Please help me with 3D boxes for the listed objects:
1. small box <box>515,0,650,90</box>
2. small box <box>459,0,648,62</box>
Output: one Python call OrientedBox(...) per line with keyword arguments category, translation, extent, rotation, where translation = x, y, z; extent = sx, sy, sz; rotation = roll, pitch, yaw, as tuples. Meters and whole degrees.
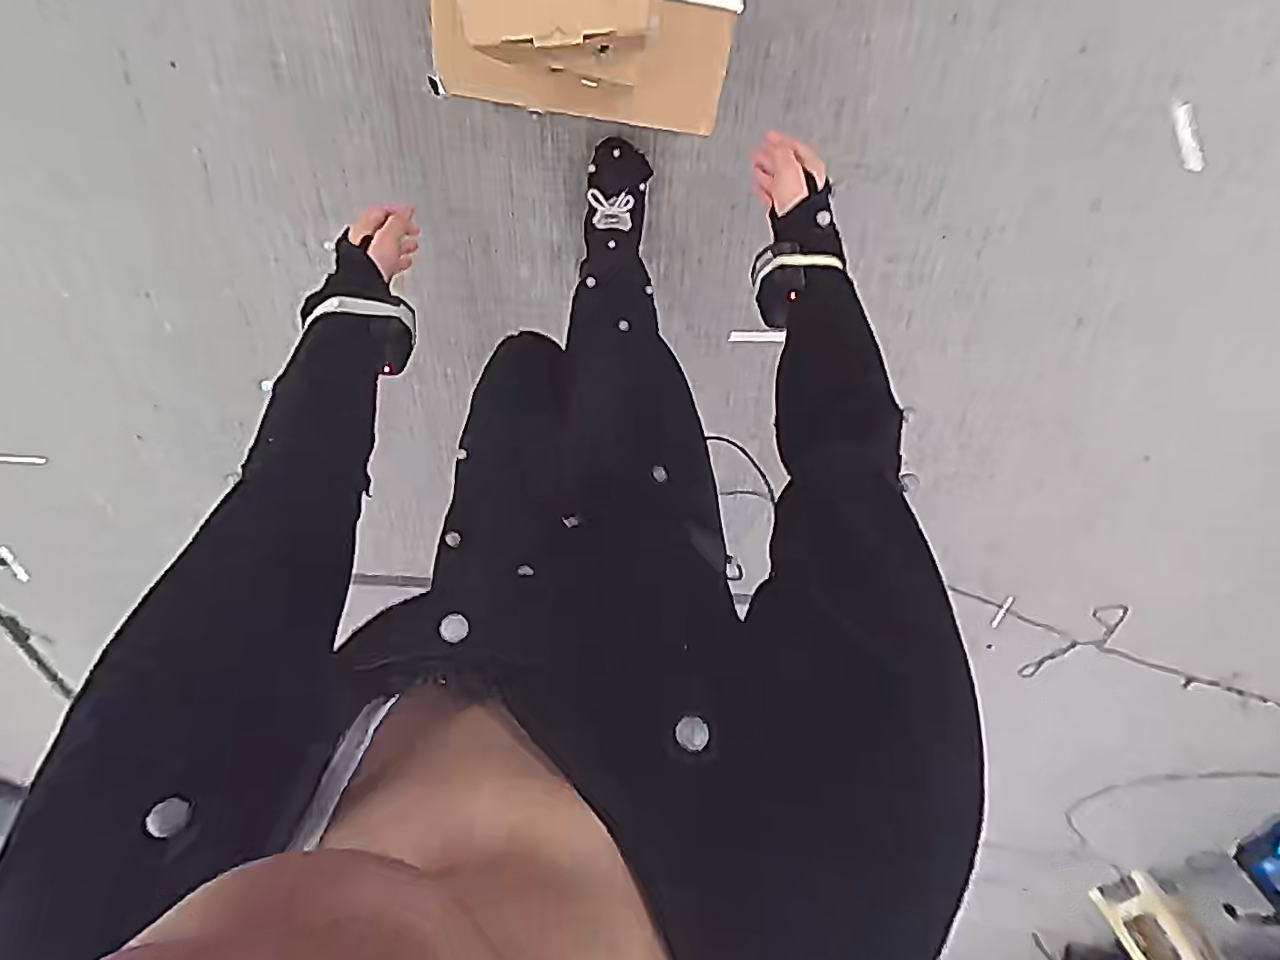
OrientedBox(category="small box", translation=(-0.076, -0.580, 0.641), extent=(0.179, 0.176, 0.168), rotation=(9, 124, -8))
OrientedBox(category="small box", translation=(-0.078, -0.501, 0.498), extent=(0.168, 0.176, 0.179), rotation=(-4, 123, 1))
